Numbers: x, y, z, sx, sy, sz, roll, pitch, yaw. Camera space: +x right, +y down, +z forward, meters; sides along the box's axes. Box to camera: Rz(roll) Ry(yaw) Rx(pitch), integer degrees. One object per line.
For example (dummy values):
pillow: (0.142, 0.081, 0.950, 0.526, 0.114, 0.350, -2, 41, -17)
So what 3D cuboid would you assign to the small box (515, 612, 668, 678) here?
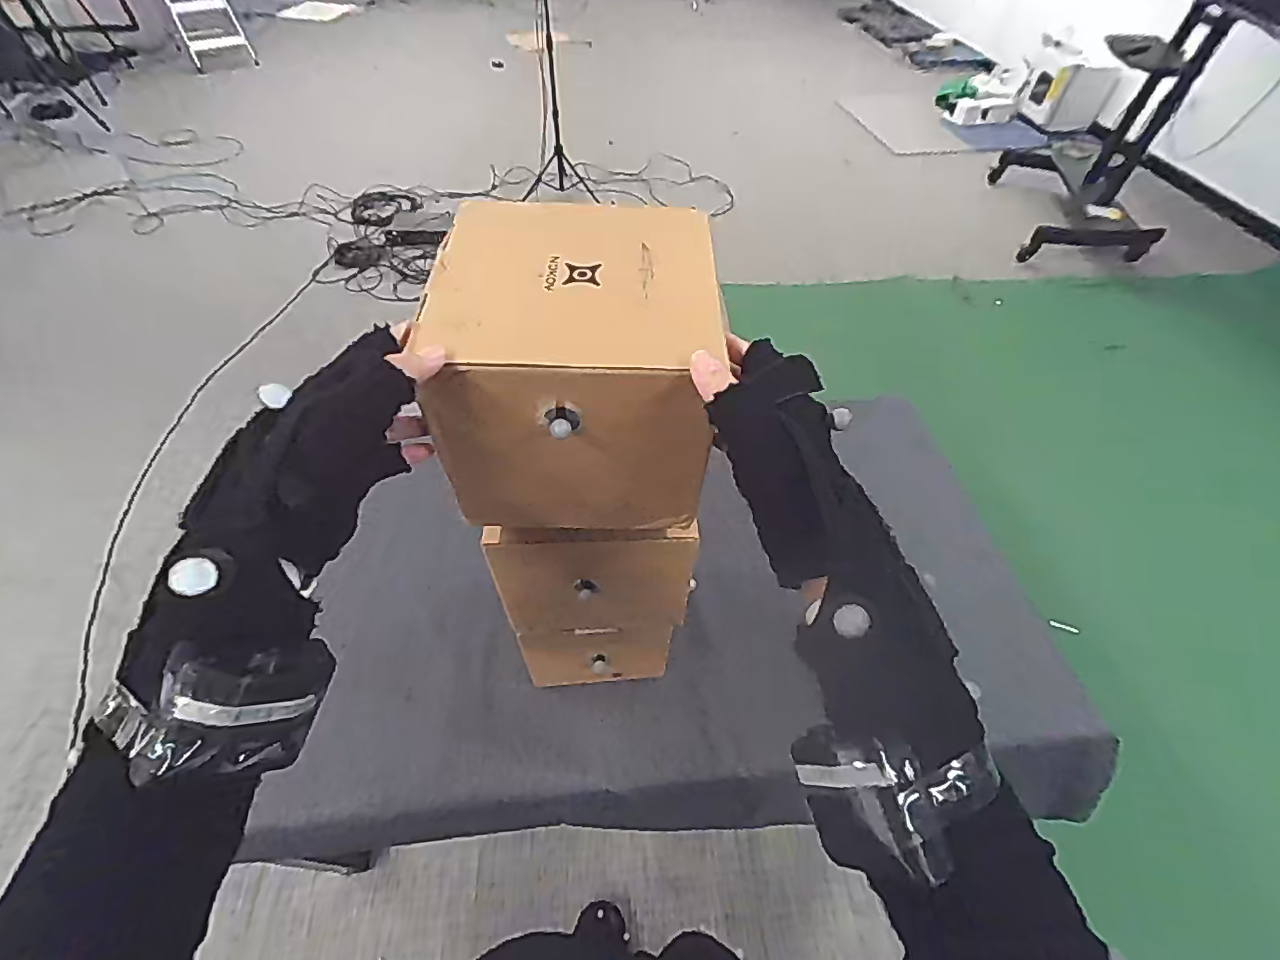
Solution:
small box: (-0.057, 0.136, 0.677, 0.168, 0.176, 0.179, -5, 52, -4)

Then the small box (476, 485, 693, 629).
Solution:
small box: (-0.048, 0.038, 0.544, 0.179, 0.176, 0.168, -3, 51, -2)

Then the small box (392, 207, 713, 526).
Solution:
small box: (-0.049, -0.076, 0.399, 0.179, 0.176, 0.168, 0, 54, -3)
